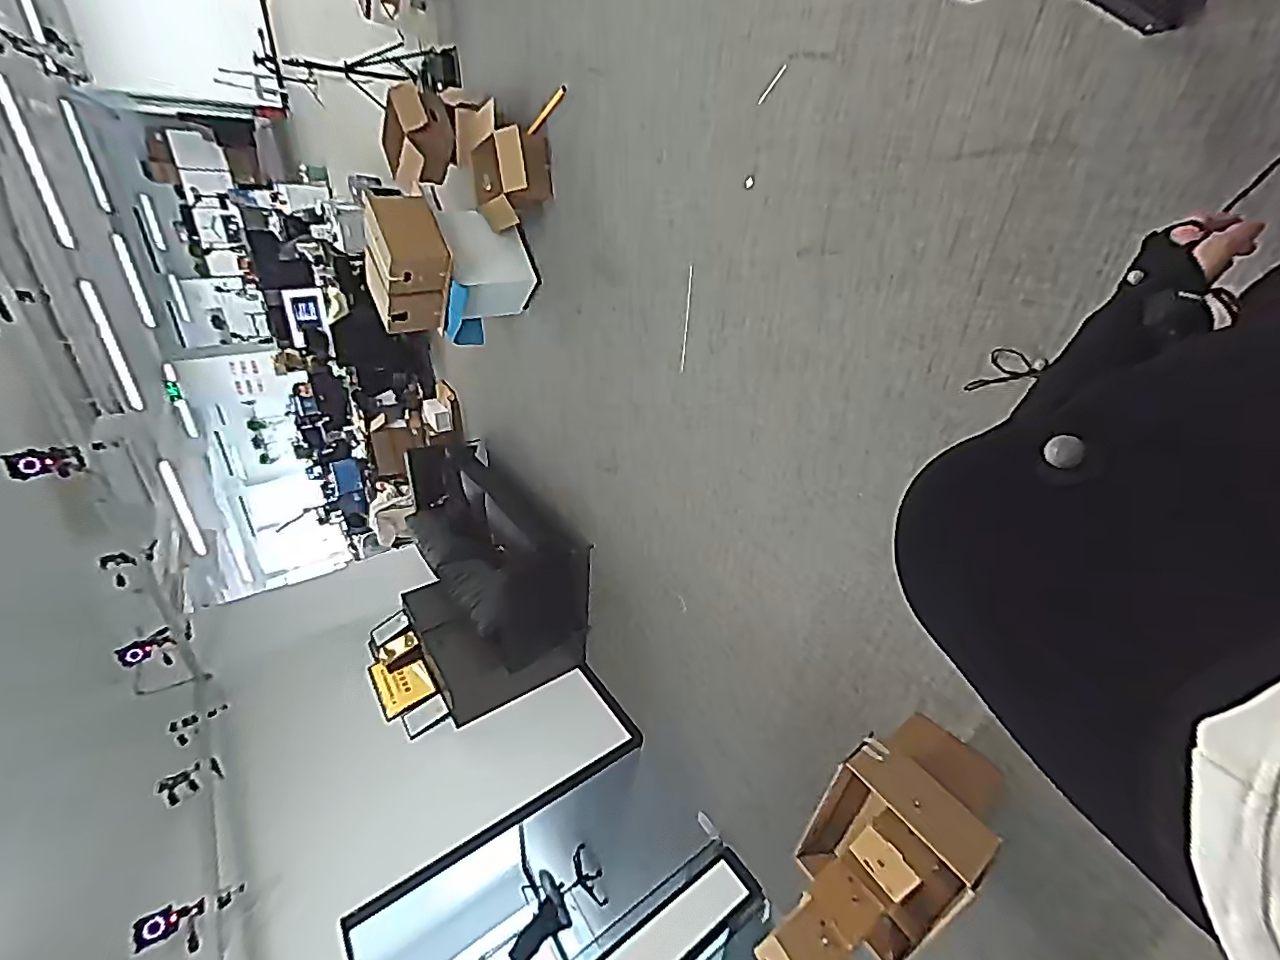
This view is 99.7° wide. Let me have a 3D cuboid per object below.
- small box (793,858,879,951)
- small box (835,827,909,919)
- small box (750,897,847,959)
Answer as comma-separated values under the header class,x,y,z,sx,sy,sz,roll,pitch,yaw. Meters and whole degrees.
class,x,y,z,sx,sy,sz,roll,pitch,yaw
small box,0.575,1.279,1.603,0.168,0.176,0.179,39,133,42
small box,0.705,1.244,1.692,0.168,0.176,0.179,39,133,41
small box,0.444,1.323,1.513,0.168,0.176,0.179,47,137,35
